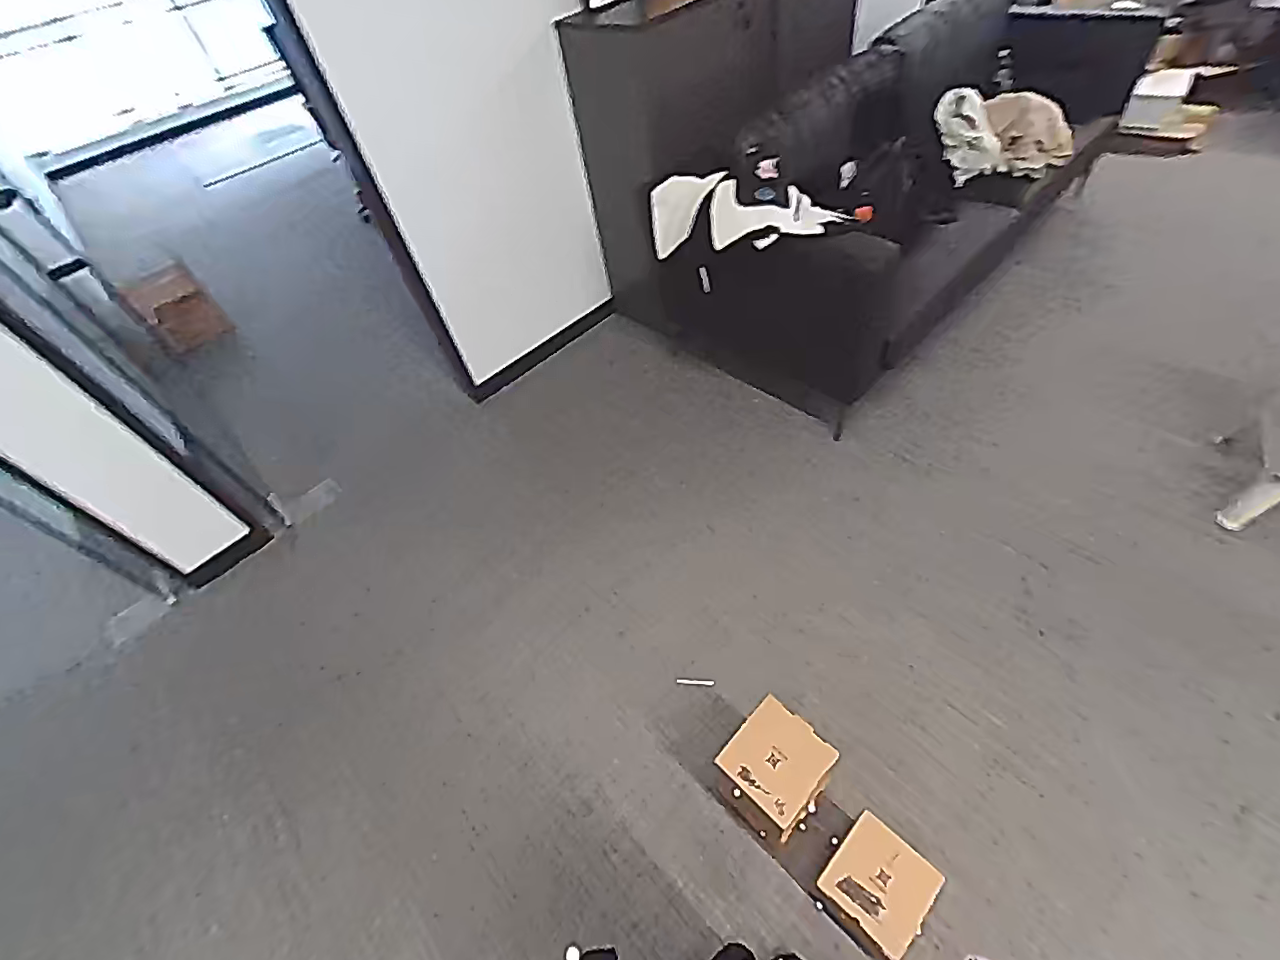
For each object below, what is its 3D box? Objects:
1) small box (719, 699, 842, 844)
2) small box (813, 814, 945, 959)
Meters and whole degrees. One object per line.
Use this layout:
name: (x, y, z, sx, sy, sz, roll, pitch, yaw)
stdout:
small box: (0.272, 0.584, 1.082, 0.179, 0.176, 0.168, -38, 54, -22)
small box: (0.461, 0.810, 1.068, 0.179, 0.176, 0.168, -39, 54, -22)
